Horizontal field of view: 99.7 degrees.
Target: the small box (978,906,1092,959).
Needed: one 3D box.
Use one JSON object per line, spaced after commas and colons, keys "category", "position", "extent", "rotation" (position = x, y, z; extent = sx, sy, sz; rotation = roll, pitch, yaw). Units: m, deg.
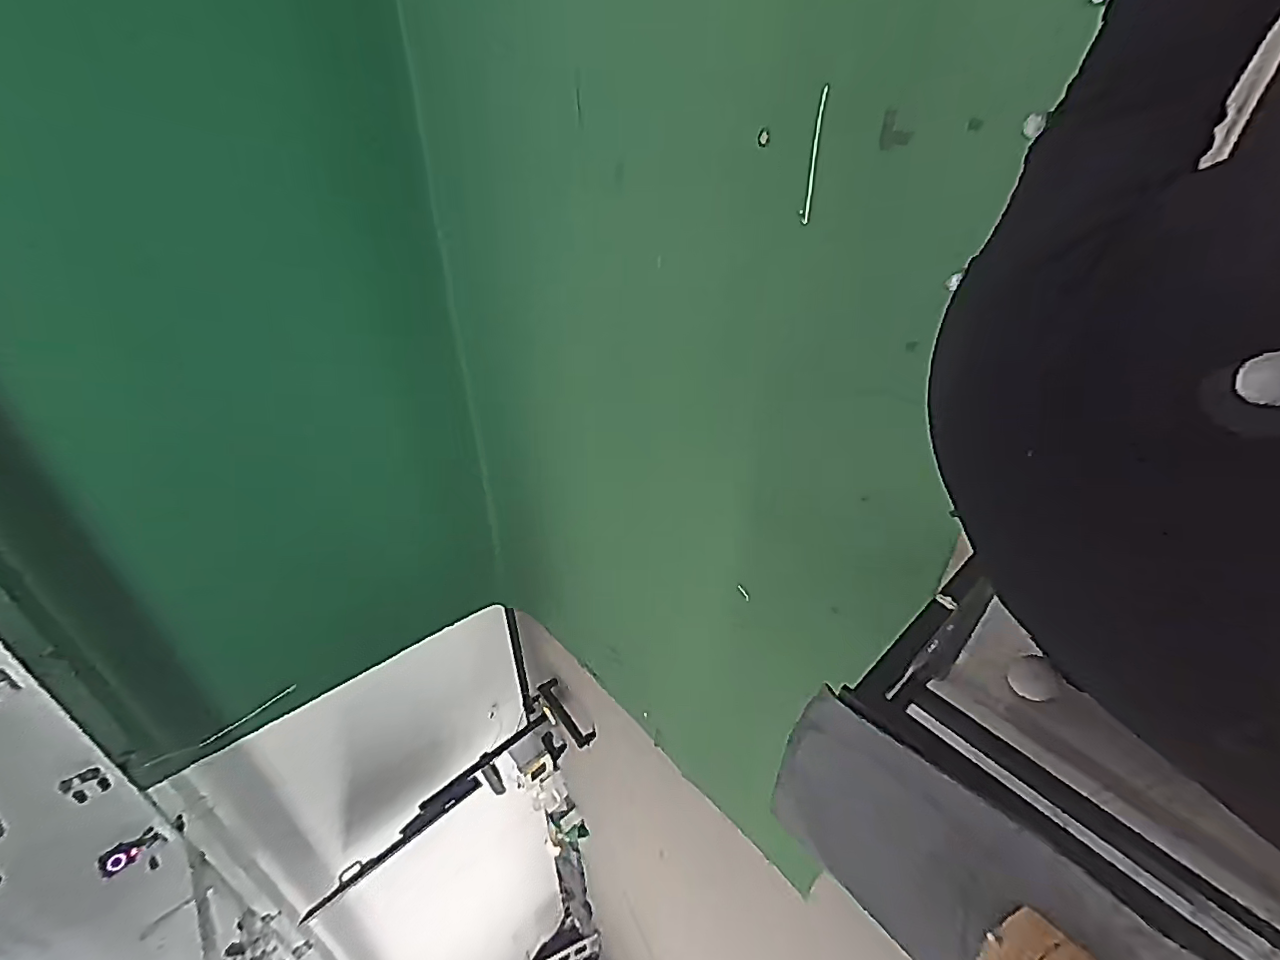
{"category": "small box", "position": [0.658, 0.851, 0.870], "extent": [0.179, 0.176, 0.168], "rotation": [36, 136, 37]}
